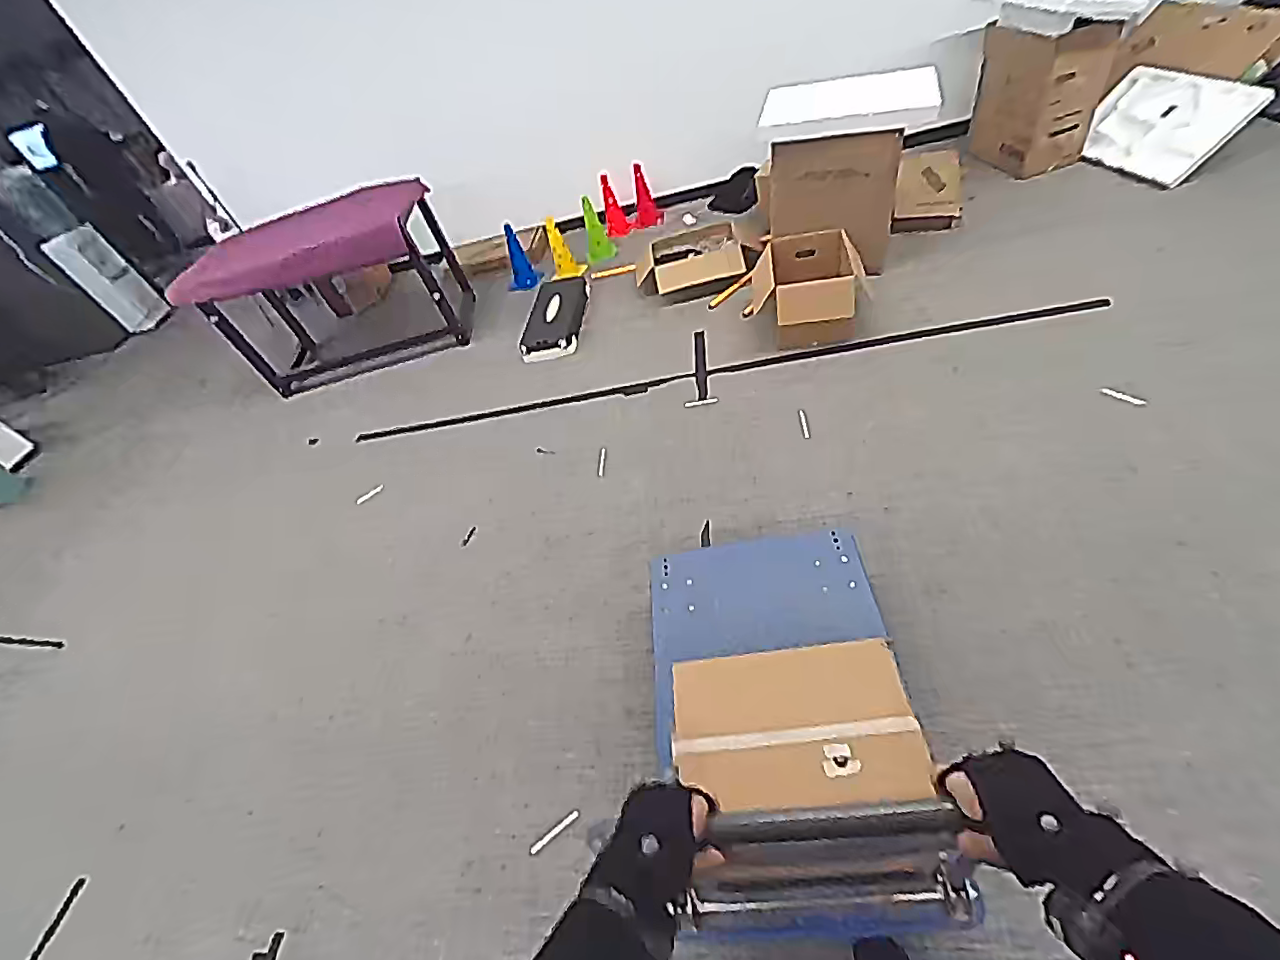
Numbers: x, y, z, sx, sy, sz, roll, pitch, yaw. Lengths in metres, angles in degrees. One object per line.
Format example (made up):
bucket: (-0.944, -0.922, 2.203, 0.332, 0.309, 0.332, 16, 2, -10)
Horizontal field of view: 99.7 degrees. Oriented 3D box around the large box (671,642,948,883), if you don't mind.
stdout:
large box: (0.287, 0.542, 1.025, 0.408, 0.320, 0.320, -9, 47, 8)
